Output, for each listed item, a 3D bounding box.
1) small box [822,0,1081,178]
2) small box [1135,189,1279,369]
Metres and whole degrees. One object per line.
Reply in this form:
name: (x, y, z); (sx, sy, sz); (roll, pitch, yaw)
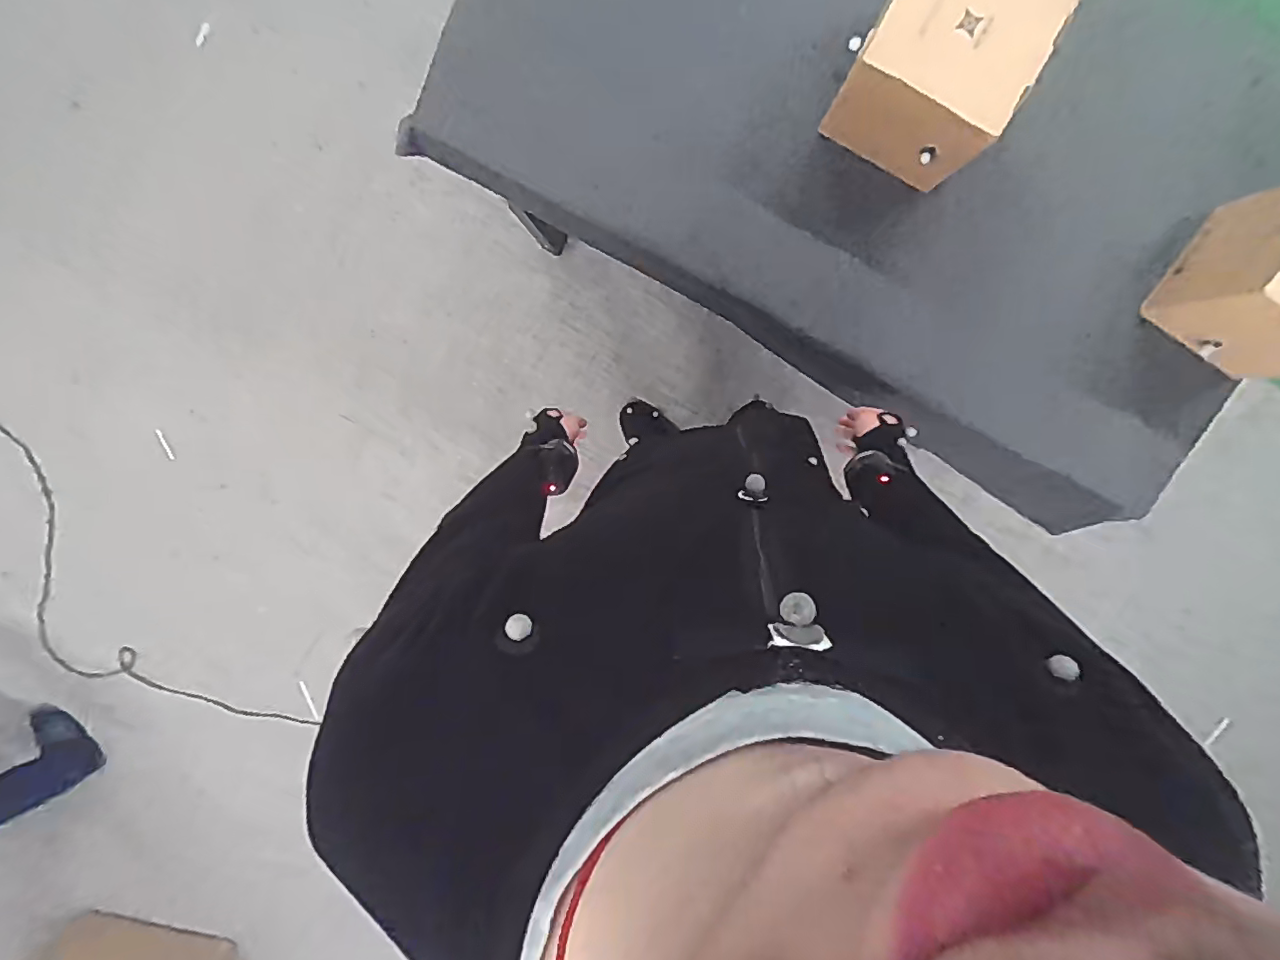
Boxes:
small box: (0.351, -0.494, 0.644); (0.179, 0.176, 0.168); (27, 99, -3)
small box: (0.808, -0.253, 0.681); (0.179, 0.176, 0.168); (32, 100, -5)
